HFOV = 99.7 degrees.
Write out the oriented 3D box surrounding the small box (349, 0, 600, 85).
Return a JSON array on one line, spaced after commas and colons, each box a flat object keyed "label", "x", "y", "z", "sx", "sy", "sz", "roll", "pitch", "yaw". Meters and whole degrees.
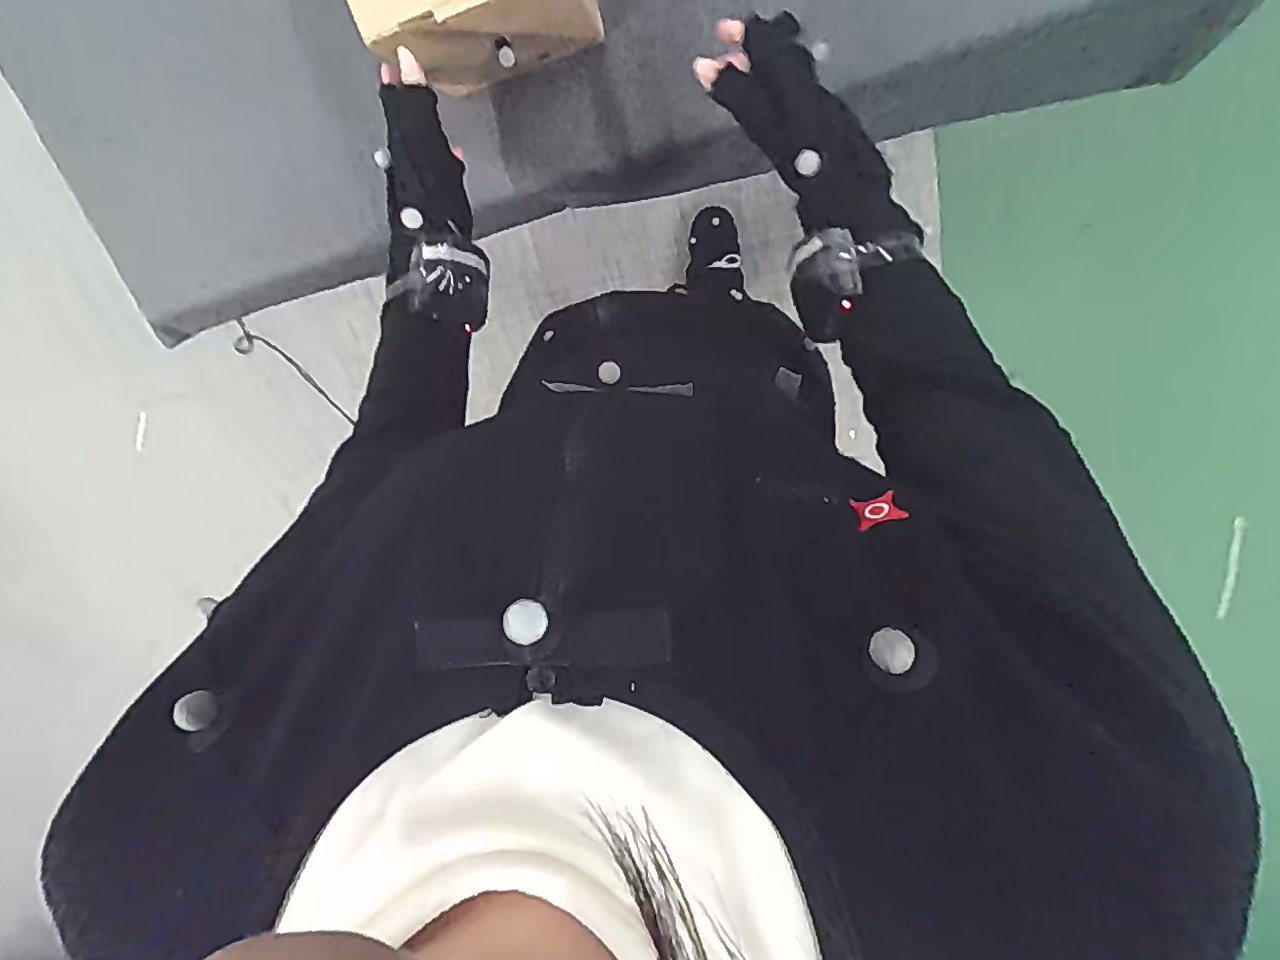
[{"label": "small box", "x": -0.141, "y": -0.451, "z": 0.434, "sx": 0.168, "sy": 0.176, "sz": 0.179, "roll": -12, "pitch": 112, "yaw": 12}]
